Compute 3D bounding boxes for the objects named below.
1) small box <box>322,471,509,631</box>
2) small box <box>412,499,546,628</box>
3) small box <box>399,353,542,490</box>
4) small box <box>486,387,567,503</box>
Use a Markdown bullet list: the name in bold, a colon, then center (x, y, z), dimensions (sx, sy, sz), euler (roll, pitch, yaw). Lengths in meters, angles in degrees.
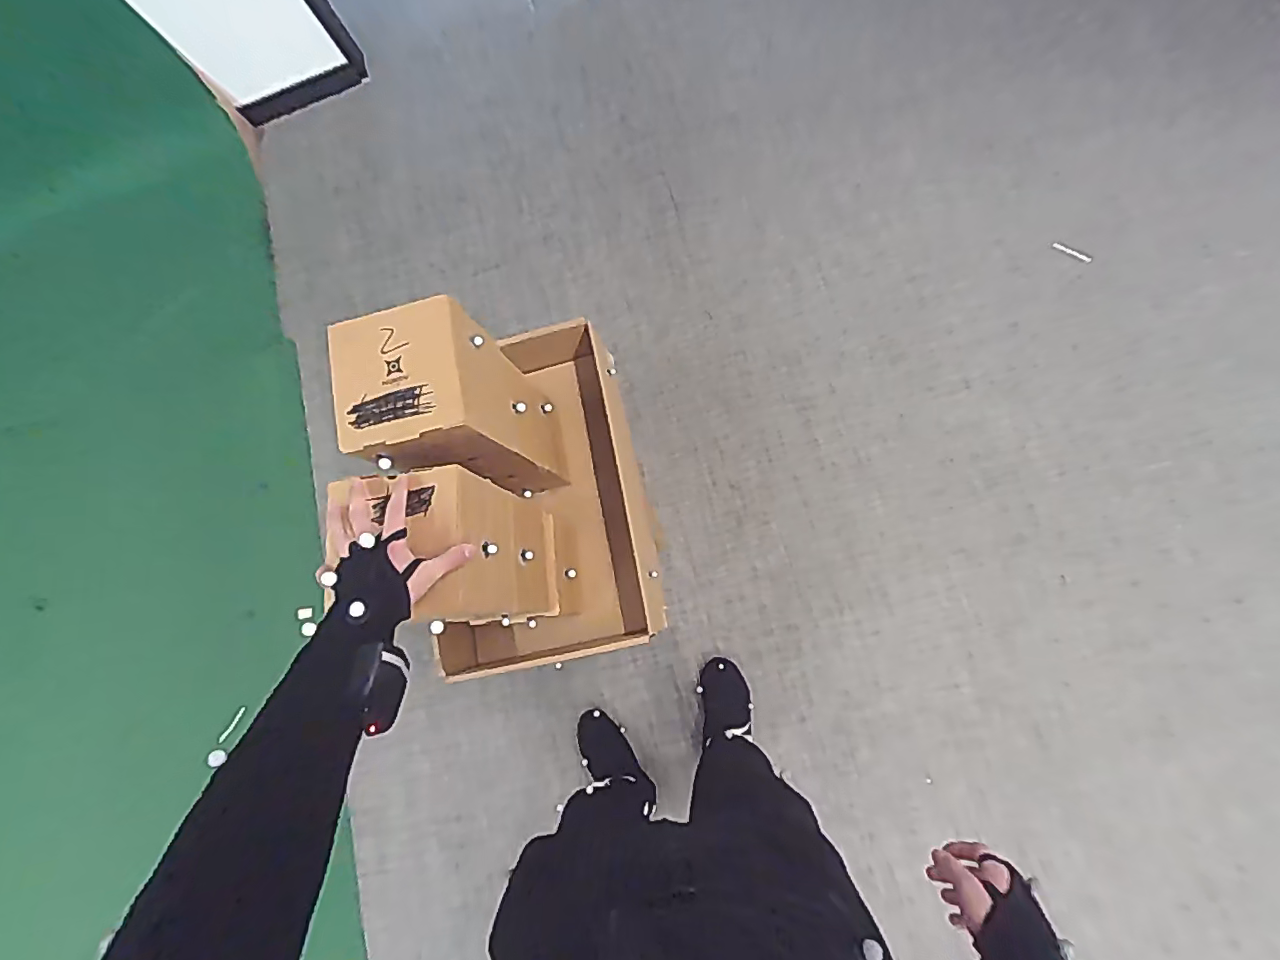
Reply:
- **small box**: center (-0.278, 0.099, 0.704), dimensions (0.168, 0.176, 0.179), euler (-7, 77, 6)
- **small box**: center (-0.254, 0.137, 0.861), dimensions (0.168, 0.176, 0.179), euler (-7, 75, 6)
- **small box**: center (-0.278, -0.086, 0.915), dimensions (0.168, 0.176, 0.179), euler (-14, 79, 5)
- **small box**: center (-0.255, -0.060, 1.073), dimensions (0.168, 0.176, 0.179), euler (-13, 79, 6)
